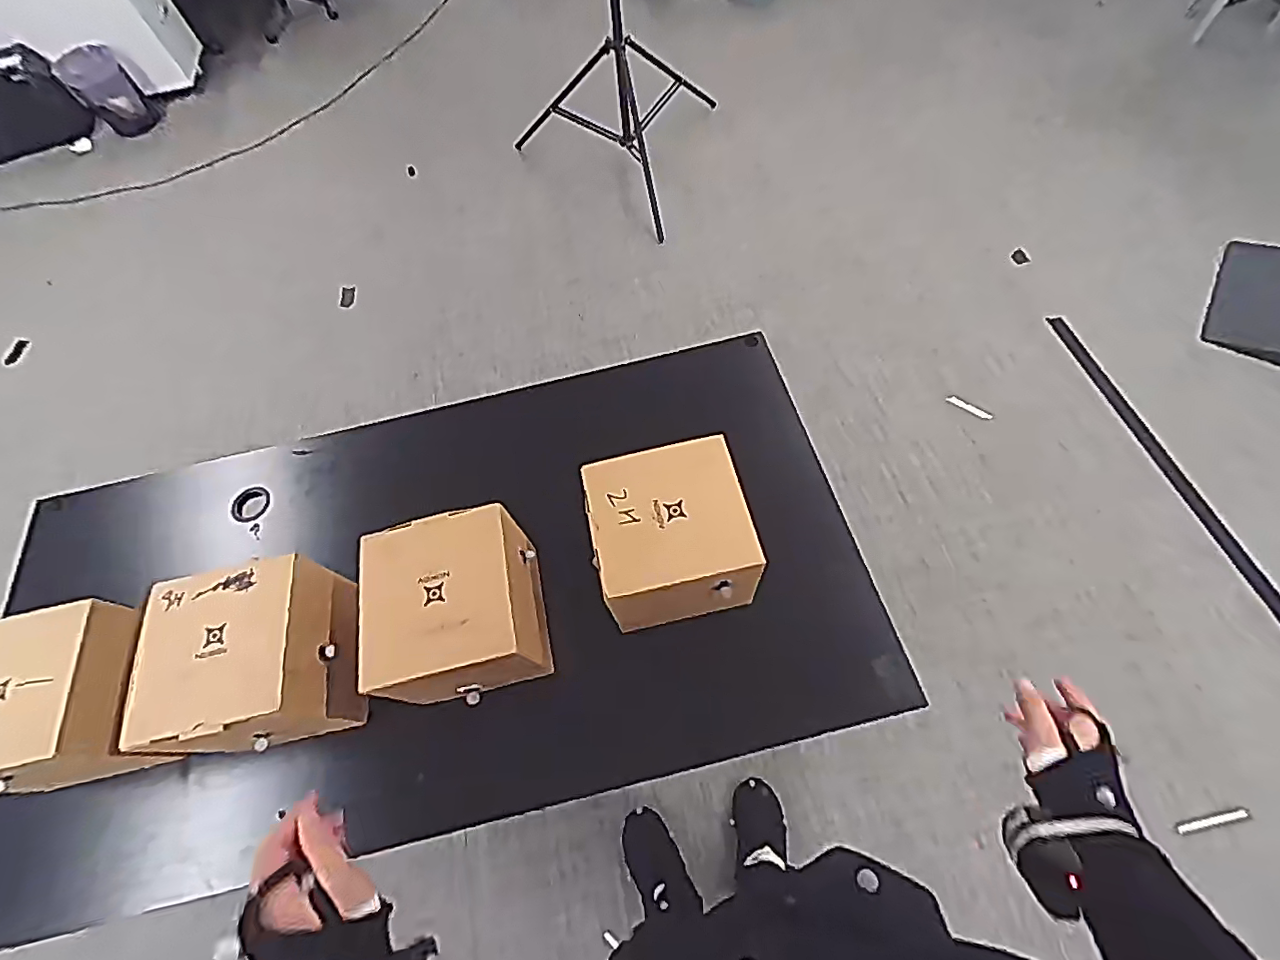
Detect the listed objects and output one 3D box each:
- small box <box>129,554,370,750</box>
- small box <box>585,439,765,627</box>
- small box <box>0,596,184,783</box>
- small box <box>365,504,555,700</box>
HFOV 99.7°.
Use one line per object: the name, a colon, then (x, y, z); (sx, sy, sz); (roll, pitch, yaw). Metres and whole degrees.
small box: (-0.444, 0.211, 0.651); (0.168, 0.176, 0.179); (-13, 63, -3)
small box: (0.039, 0.073, 0.676); (0.179, 0.176, 0.168); (-12, 63, -1)
small box: (-0.671, 0.256, 0.646); (0.179, 0.176, 0.168); (-13, 64, -2)
small box: (-0.212, 0.155, 0.661); (0.168, 0.176, 0.179); (-15, 64, -1)
